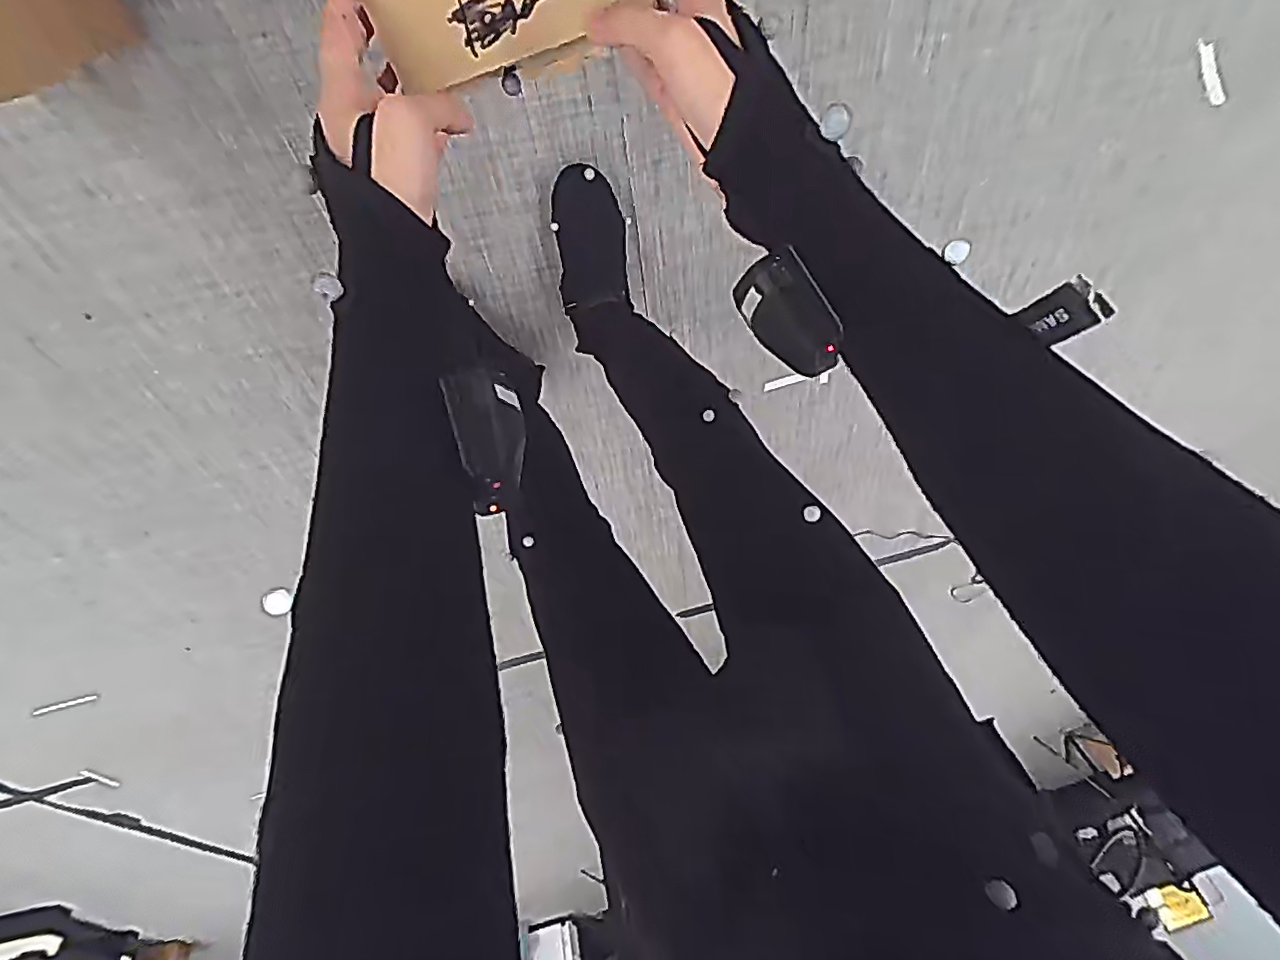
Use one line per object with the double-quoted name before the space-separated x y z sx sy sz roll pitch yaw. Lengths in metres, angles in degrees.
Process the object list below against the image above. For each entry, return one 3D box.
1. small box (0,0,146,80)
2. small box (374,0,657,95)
"small box" -0.657 -0.508 0.527 0.168 0.176 0.179 -15 134 -2
"small box" -0.103 -0.376 0.347 0.168 0.176 0.179 -20 125 0
